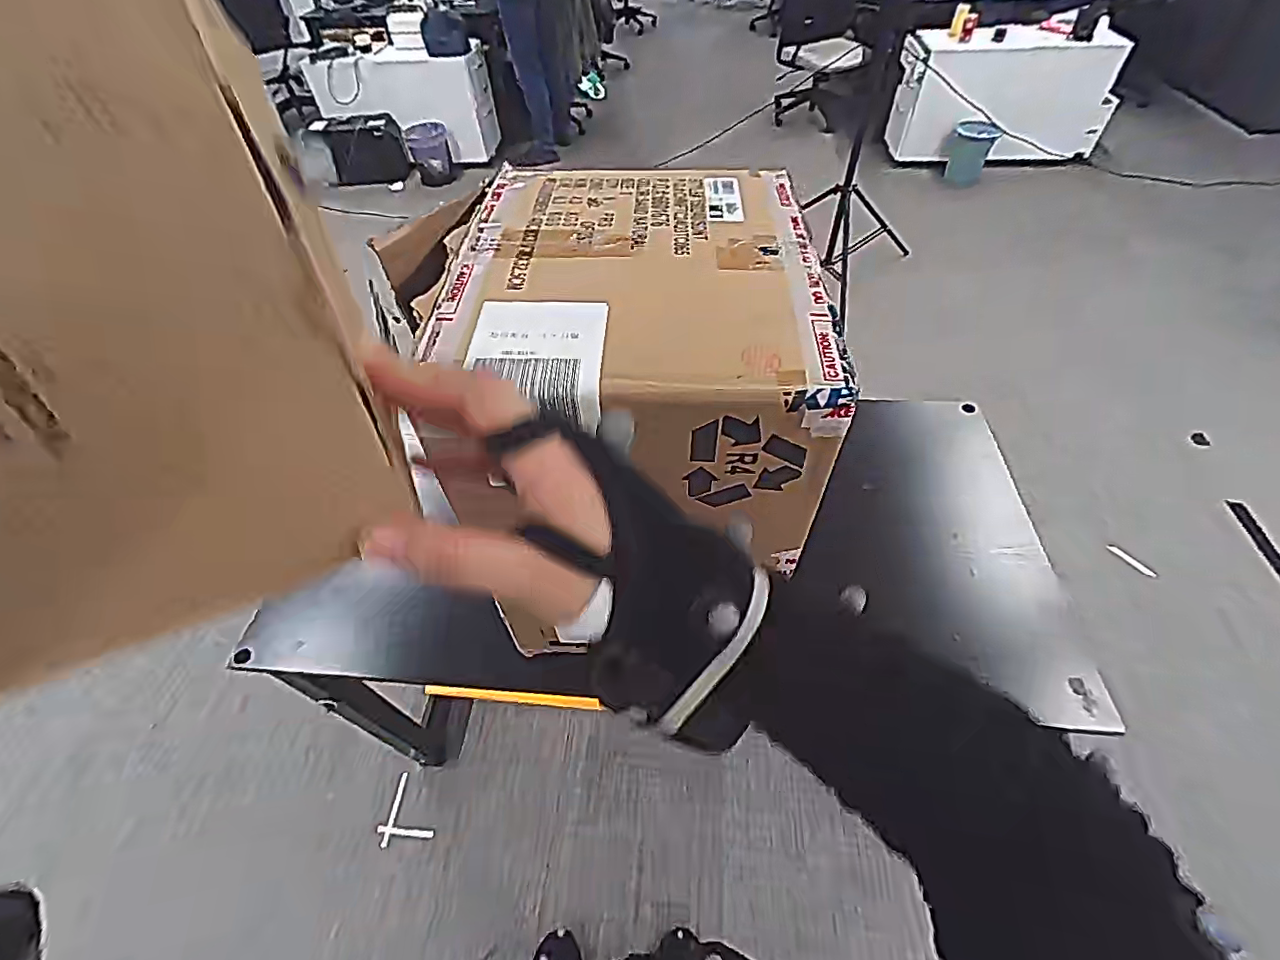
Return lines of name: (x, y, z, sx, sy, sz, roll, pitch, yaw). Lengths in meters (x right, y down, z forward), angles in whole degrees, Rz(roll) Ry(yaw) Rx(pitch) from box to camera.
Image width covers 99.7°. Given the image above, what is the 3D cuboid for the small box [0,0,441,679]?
small box: (-0.196, -0.062, 0.192, 0.179, 0.168, 0.176, -22, 36, -16)
